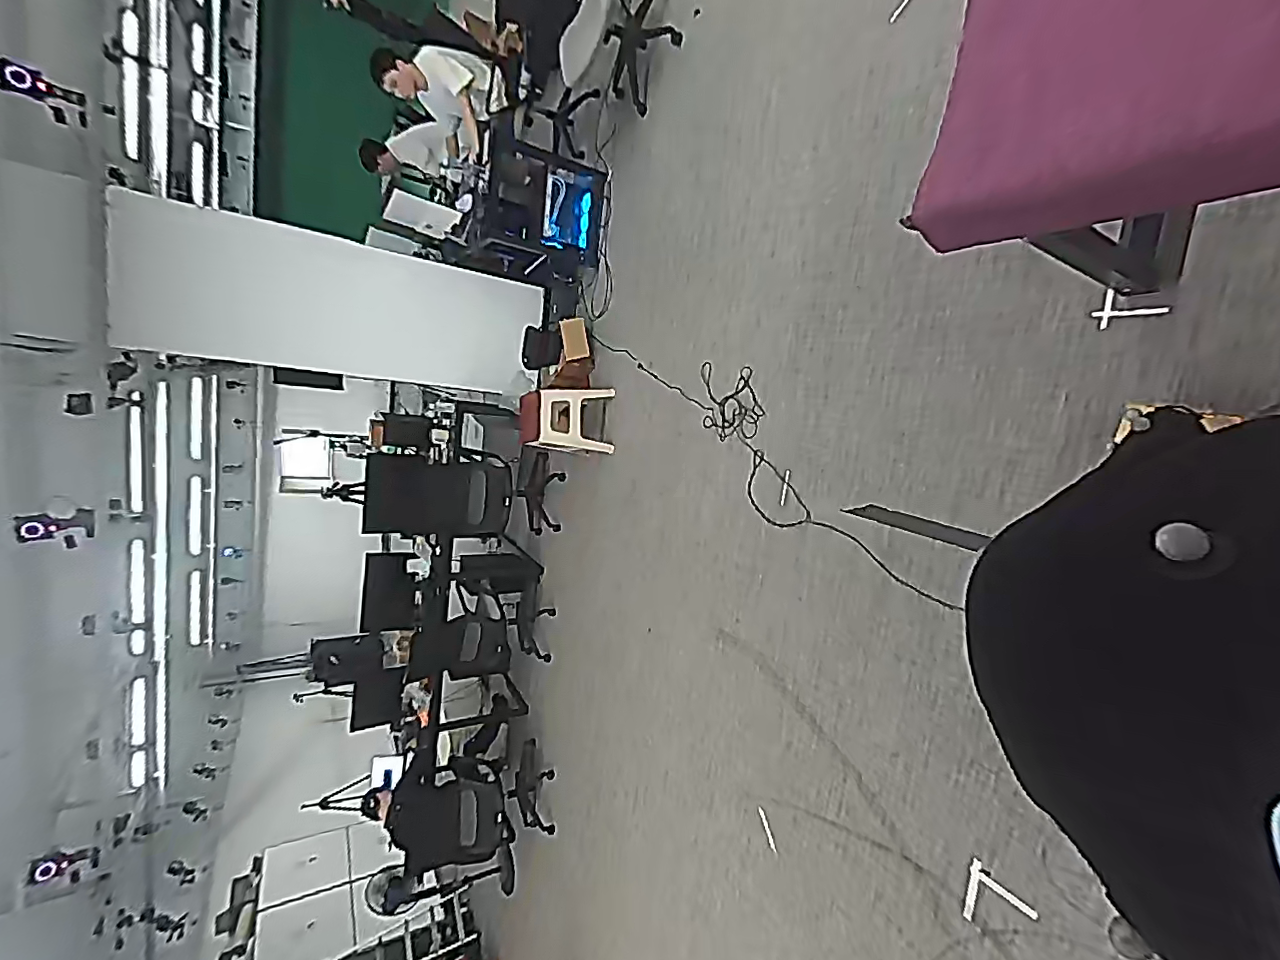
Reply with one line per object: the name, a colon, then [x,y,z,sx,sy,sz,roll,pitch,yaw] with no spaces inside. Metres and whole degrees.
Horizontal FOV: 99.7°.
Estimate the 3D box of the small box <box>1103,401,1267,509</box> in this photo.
small box: [1.075,-0.050,1.067,0.168,0.176,0.179,30,113,55]
